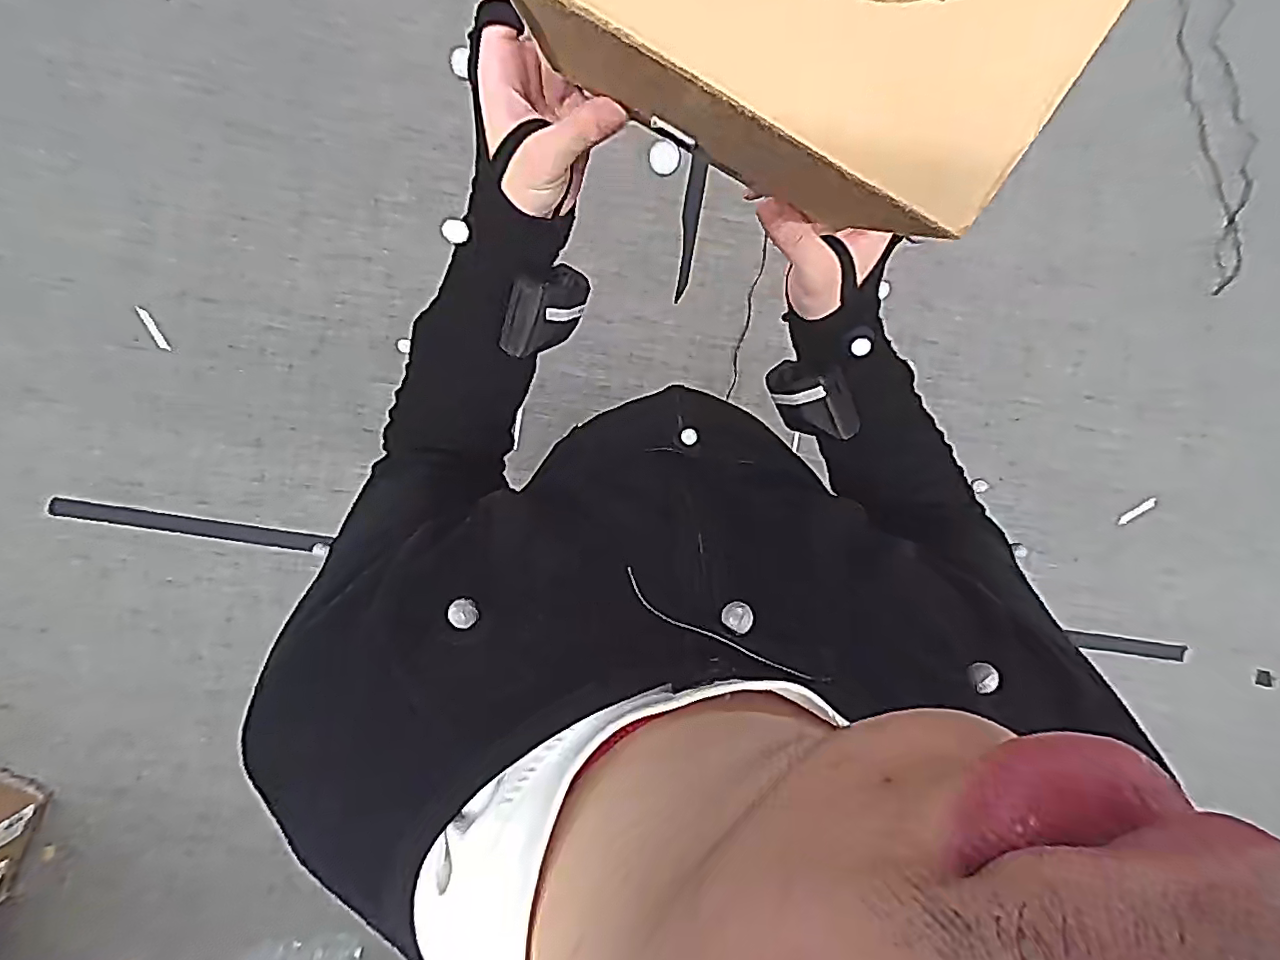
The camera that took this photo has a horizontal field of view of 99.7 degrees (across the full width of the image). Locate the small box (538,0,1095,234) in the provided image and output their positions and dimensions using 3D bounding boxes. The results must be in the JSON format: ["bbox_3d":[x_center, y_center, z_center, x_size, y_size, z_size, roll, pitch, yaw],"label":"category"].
[{"bbox_3d":[0.065,-0.220,0.207,0.168,0.176,0.179,23,115,-11],"label":"small box"}]
